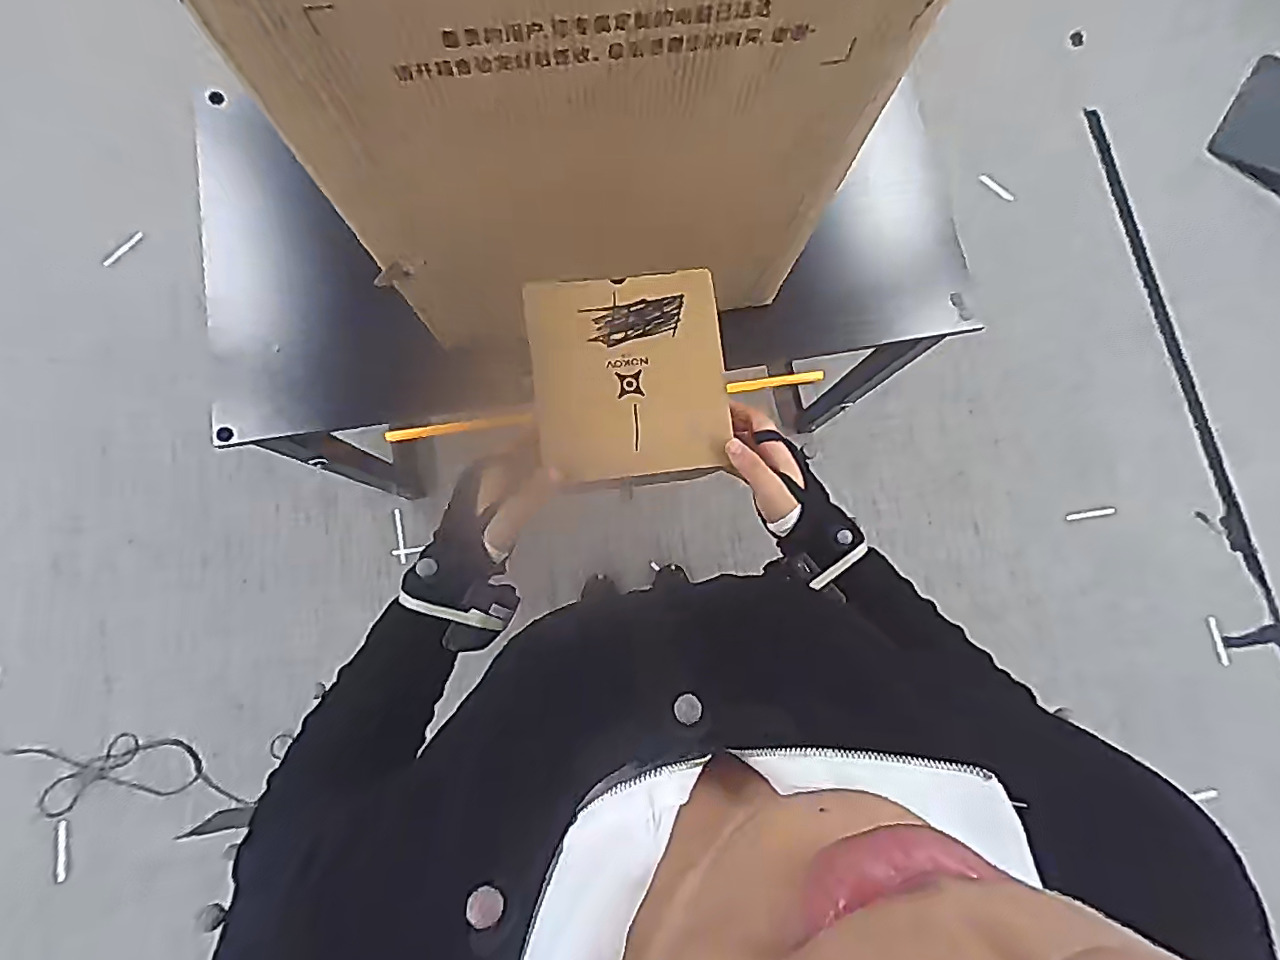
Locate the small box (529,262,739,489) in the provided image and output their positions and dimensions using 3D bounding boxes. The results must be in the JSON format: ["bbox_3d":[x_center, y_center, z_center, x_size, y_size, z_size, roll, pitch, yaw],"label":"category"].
[{"bbox_3d":[-0.013,-0.091,0.540,0.168,0.176,0.179,-8,87,-6],"label":"small box"}]
